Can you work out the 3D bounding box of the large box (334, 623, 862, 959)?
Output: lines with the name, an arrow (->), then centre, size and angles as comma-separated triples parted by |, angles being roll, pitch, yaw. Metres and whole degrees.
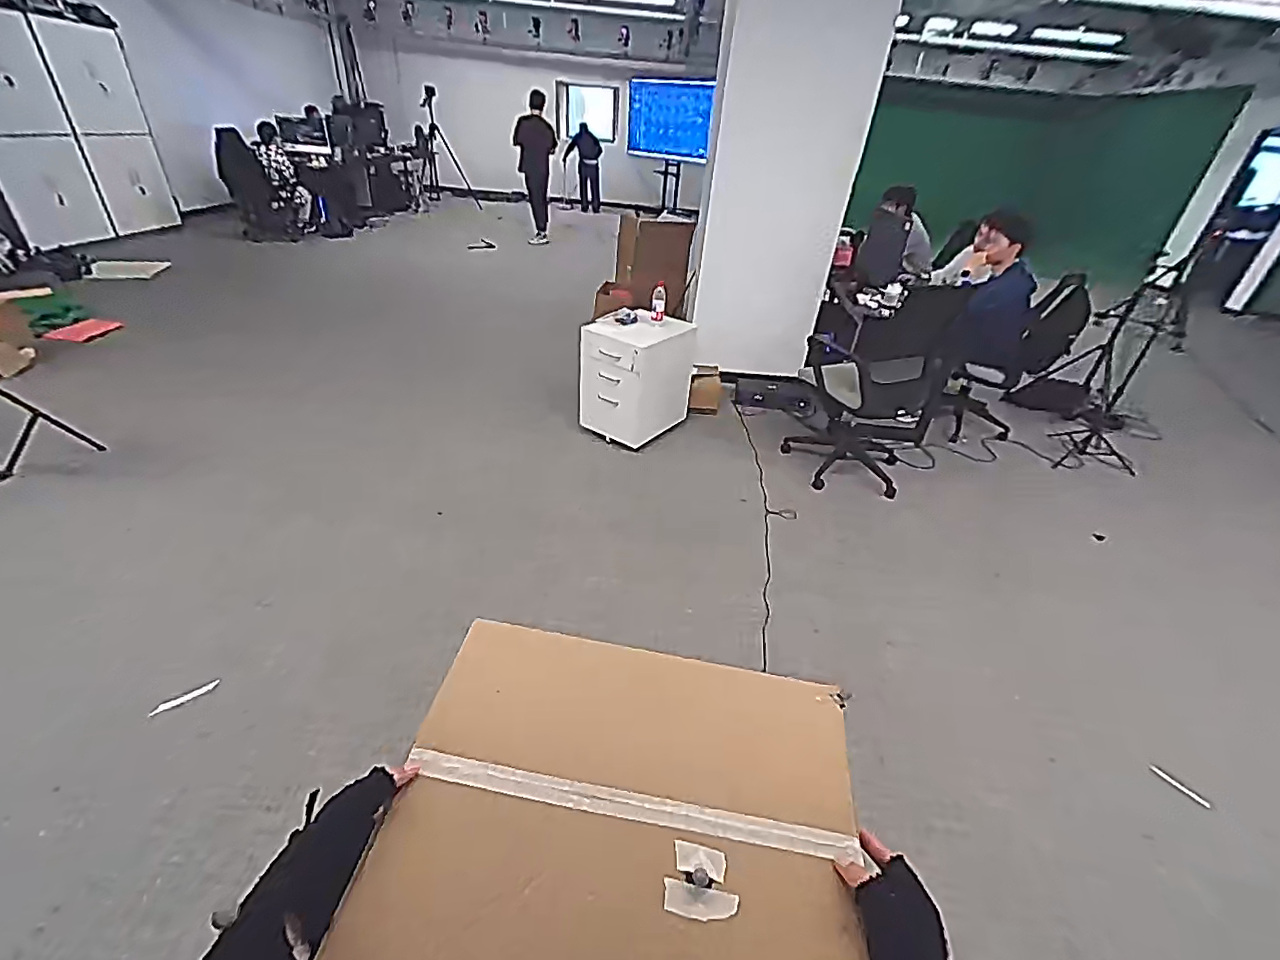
large box -> -0.024, 0.404, 0.590 | 0.408, 0.320, 0.320 | 10, 41, 4
